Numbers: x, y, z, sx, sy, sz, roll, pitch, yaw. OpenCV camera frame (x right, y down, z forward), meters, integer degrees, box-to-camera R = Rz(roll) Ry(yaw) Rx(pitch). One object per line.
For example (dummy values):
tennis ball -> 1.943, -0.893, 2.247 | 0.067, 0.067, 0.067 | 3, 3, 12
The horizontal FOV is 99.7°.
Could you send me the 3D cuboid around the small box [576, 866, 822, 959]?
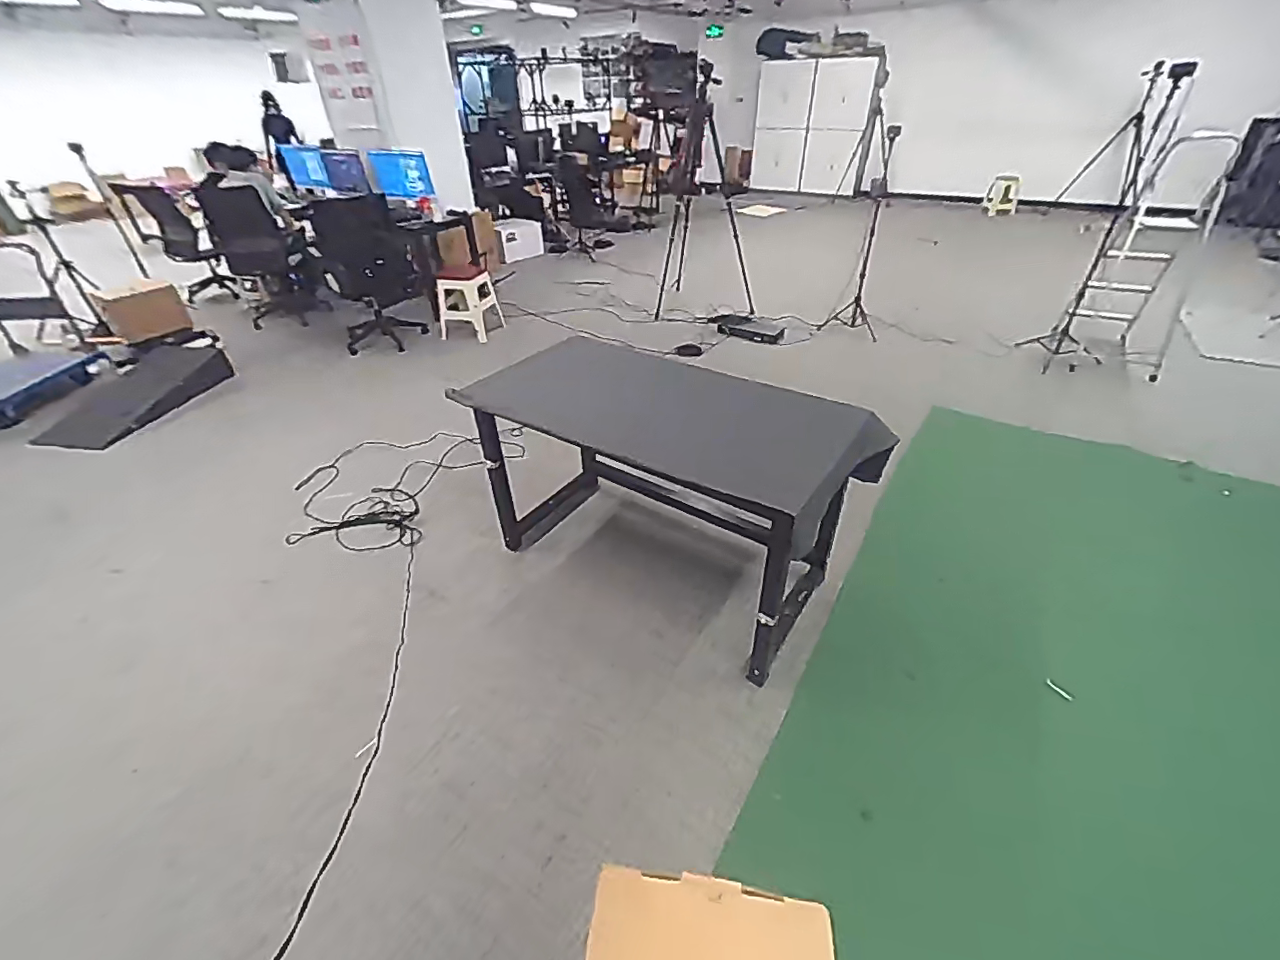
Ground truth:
small box -> 0.032, 0.410, 0.371 | 0.168, 0.176, 0.179 | 6, 36, 6
